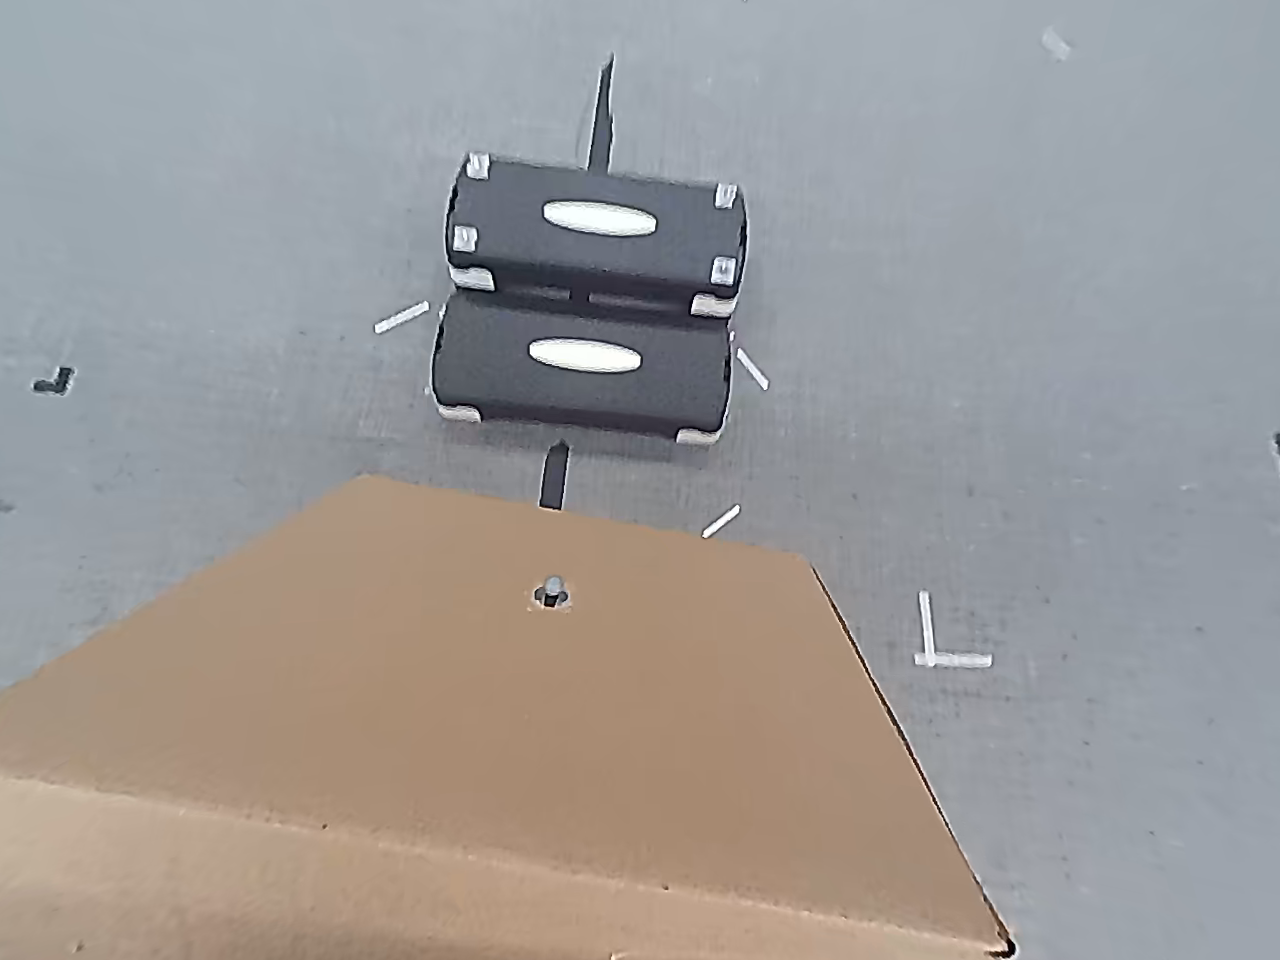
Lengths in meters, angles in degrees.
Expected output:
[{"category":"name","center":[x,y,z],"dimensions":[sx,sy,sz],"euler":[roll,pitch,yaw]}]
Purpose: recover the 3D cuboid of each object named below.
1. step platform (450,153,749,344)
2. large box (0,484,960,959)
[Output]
[{"category":"step platform","center":[-0.089,-0.545,1.289],"dimensions":[0.684,0.204,0.286],"euler":[10,74,-2]},{"category":"large box","center":[-0.096,0.217,0.382],"dimensions":[0.408,0.320,0.320],"euler":[9,111,-1]}]
